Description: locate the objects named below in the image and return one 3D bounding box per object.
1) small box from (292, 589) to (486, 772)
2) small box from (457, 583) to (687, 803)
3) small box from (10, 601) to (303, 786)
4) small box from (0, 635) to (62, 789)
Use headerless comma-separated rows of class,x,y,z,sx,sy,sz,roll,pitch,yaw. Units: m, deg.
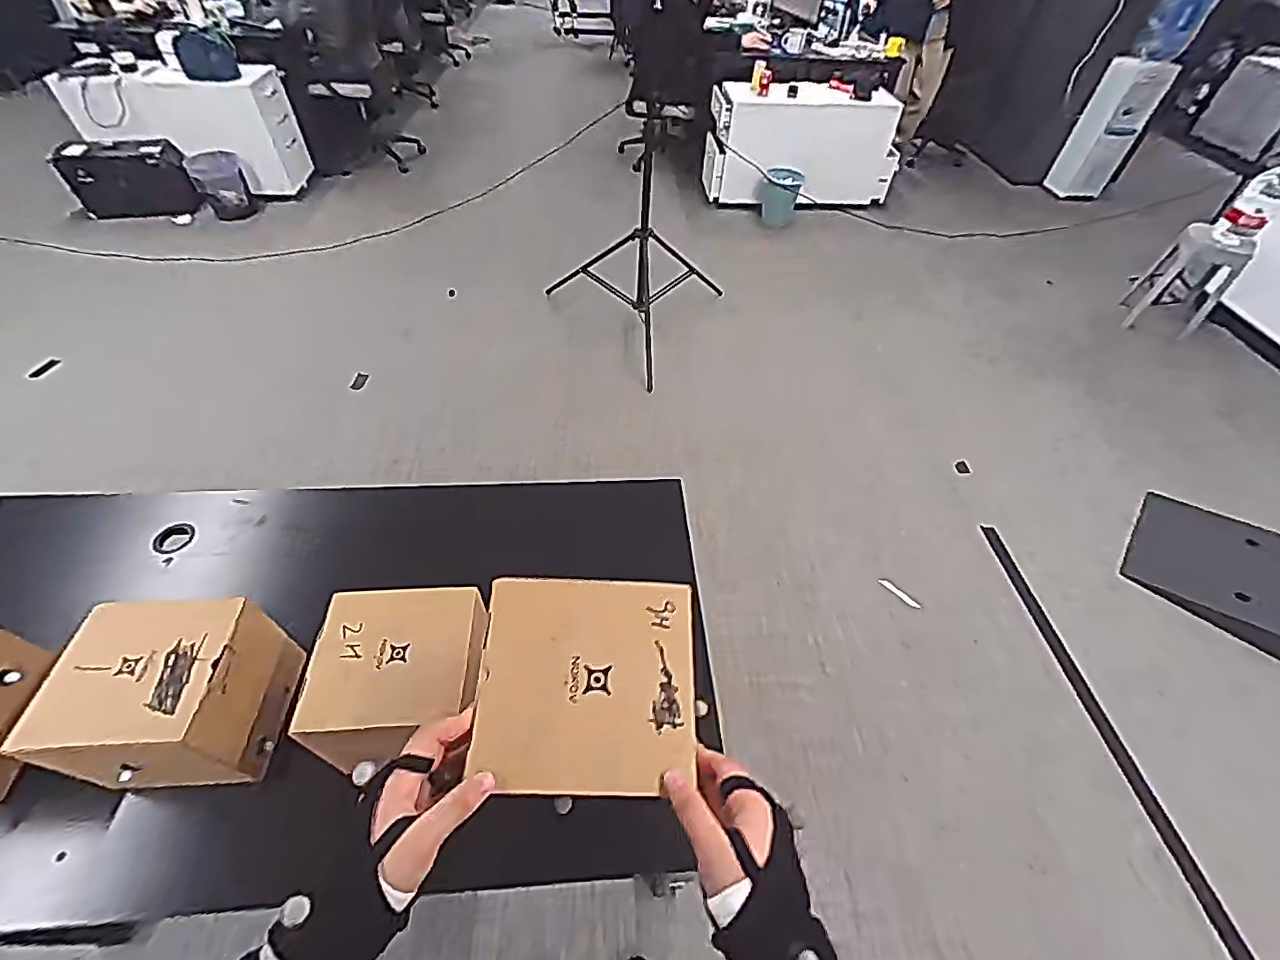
small box,-0.285,0.253,0.679,0.179,0.176,0.168,-2,48,-5
small box,-0.051,0.207,0.513,0.179,0.176,0.168,2,59,-1
small box,-0.554,0.262,0.659,0.179,0.176,0.168,-2,49,-3
small box,-0.847,0.279,0.631,0.179,0.176,0.168,-4,48,-6
